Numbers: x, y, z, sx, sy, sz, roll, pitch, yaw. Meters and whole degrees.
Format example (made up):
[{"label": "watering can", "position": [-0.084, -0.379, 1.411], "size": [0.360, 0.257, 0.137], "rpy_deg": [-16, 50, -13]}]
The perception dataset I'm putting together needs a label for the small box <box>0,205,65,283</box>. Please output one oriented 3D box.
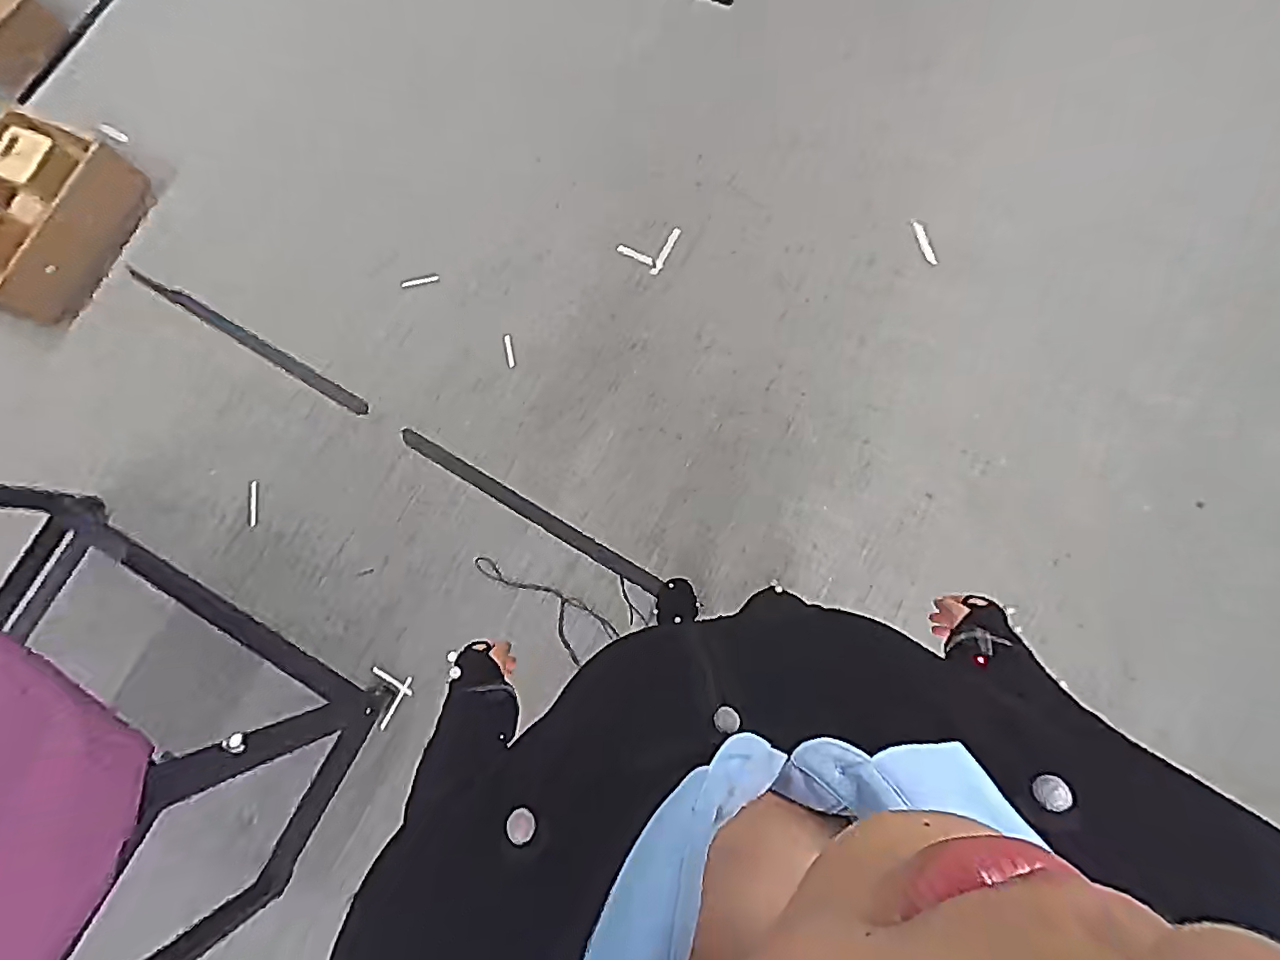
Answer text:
[{"label": "small box", "position": [-2.051, -0.775, 1.746], "size": [0.179, 0.176, 0.168], "rpy_deg": [35, 82, 10]}]
